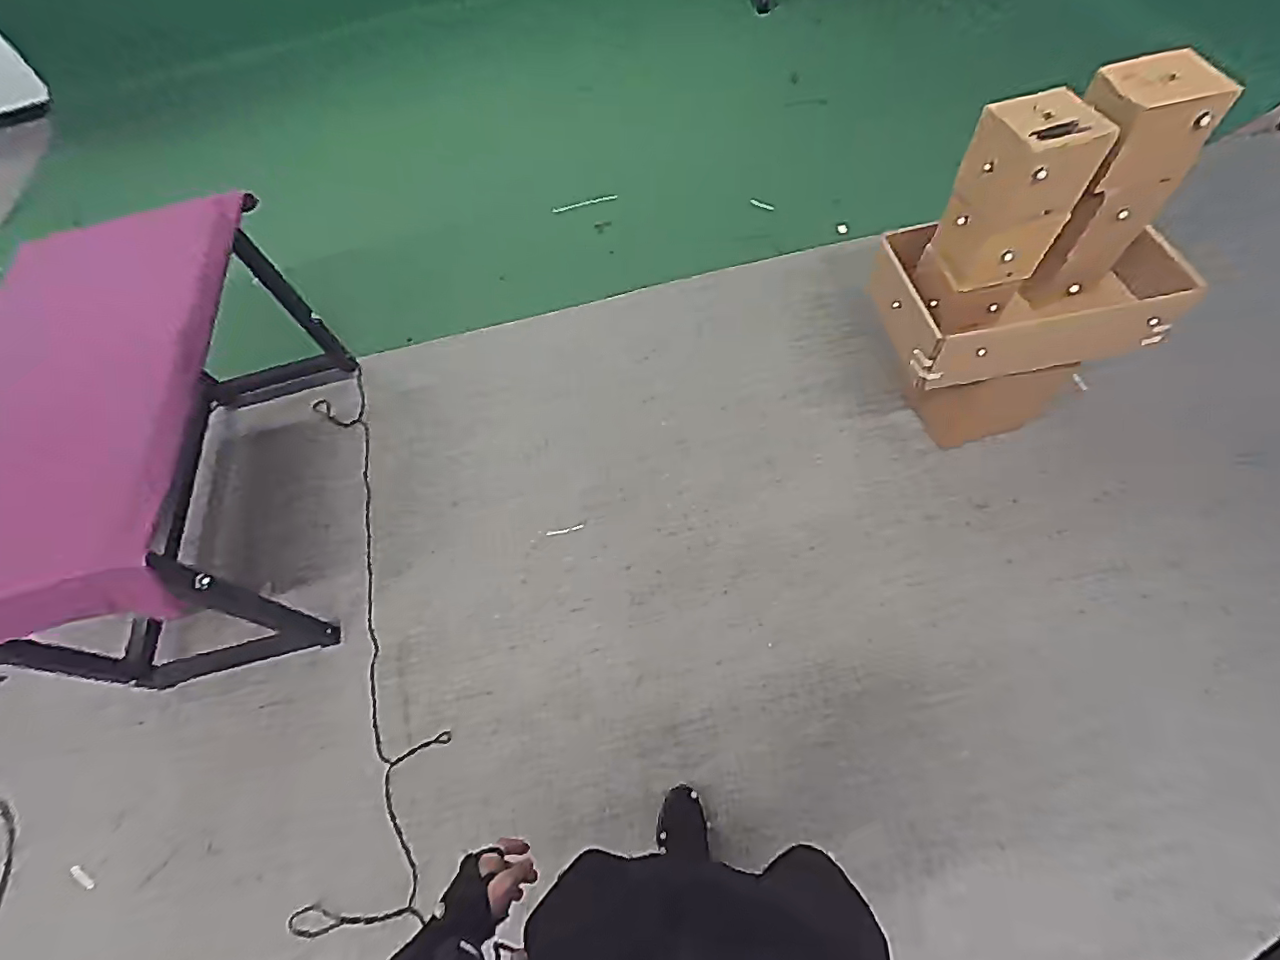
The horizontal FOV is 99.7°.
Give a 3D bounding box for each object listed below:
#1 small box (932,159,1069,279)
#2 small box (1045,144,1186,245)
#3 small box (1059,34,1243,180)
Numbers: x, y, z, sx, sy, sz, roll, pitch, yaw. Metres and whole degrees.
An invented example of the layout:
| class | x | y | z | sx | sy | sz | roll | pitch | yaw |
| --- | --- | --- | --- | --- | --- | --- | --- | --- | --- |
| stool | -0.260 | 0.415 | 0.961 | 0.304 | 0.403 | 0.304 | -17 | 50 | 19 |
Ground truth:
| class | x | y | z | sx | sy | sz | roll | pitch | yaw |
| --- | --- | --- | --- | --- | --- | --- | --- | --- | --- |
| small box | 0.801 | -0.580 | 1.224 | 0.168 | 0.176 | 0.179 | -13 | 61 | 0 |
| small box | 1.050 | -0.672 | 1.233 | 0.179 | 0.176 | 0.168 | -18 | 61 | 1 |
| small box | 1.009 | -0.744 | 1.089 | 0.179 | 0.176 | 0.168 | -11 | 60 | 5 |
